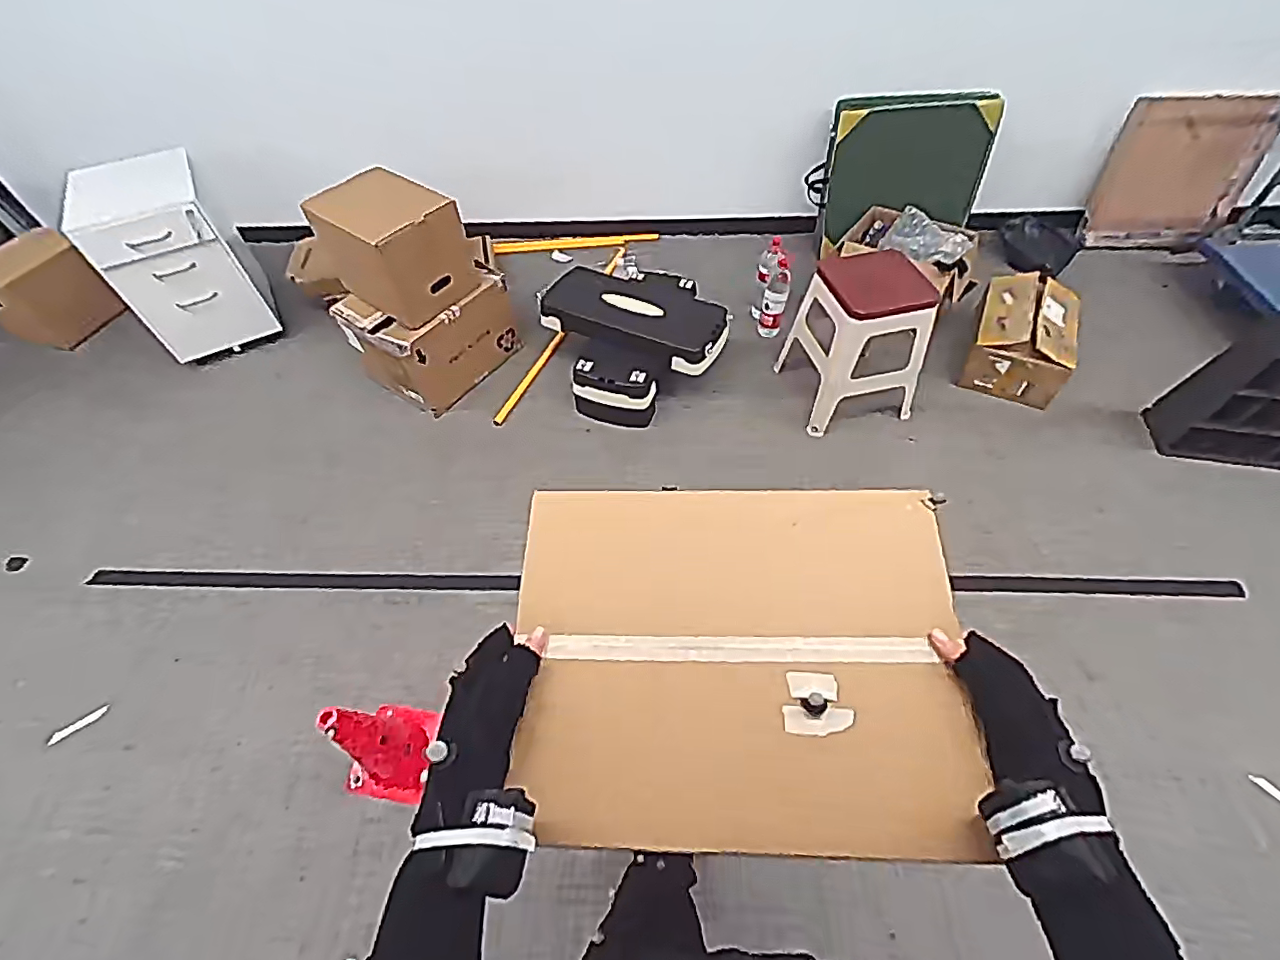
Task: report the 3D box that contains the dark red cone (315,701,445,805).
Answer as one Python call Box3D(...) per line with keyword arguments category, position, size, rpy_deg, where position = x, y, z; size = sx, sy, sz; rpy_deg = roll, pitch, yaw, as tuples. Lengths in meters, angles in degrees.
Box3D(category="dark red cone", position=(-0.588, 0.553, 1.163), size=(0.201, 0.394, 0.202), rpy_deg=(6, 54, 6))

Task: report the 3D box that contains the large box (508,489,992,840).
Box3D(category="large box", position=(0.093, 0.215, 0.637), size=(0.408, 0.320, 0.320), rpy_deg=(0, 65, 3))
